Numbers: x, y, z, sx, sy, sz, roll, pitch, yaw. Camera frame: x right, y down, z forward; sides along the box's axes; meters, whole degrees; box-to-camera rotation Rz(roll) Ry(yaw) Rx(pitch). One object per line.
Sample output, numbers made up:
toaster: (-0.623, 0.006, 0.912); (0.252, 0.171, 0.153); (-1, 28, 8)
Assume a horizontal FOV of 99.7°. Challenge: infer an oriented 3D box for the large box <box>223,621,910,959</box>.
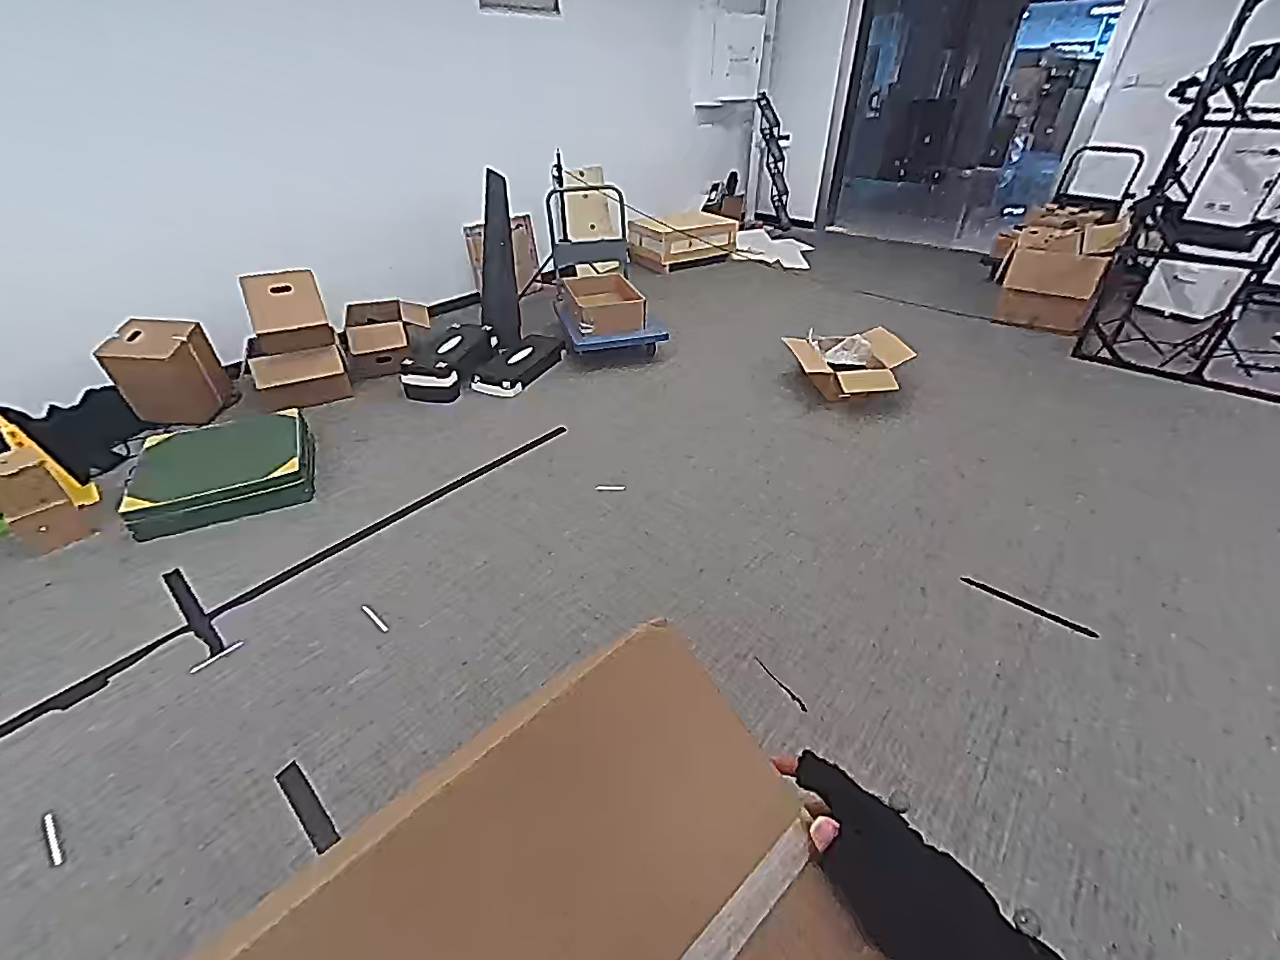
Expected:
large box: (-0.088, 0.370, 0.380); (0.408, 0.320, 0.320); (-33, 80, -28)
